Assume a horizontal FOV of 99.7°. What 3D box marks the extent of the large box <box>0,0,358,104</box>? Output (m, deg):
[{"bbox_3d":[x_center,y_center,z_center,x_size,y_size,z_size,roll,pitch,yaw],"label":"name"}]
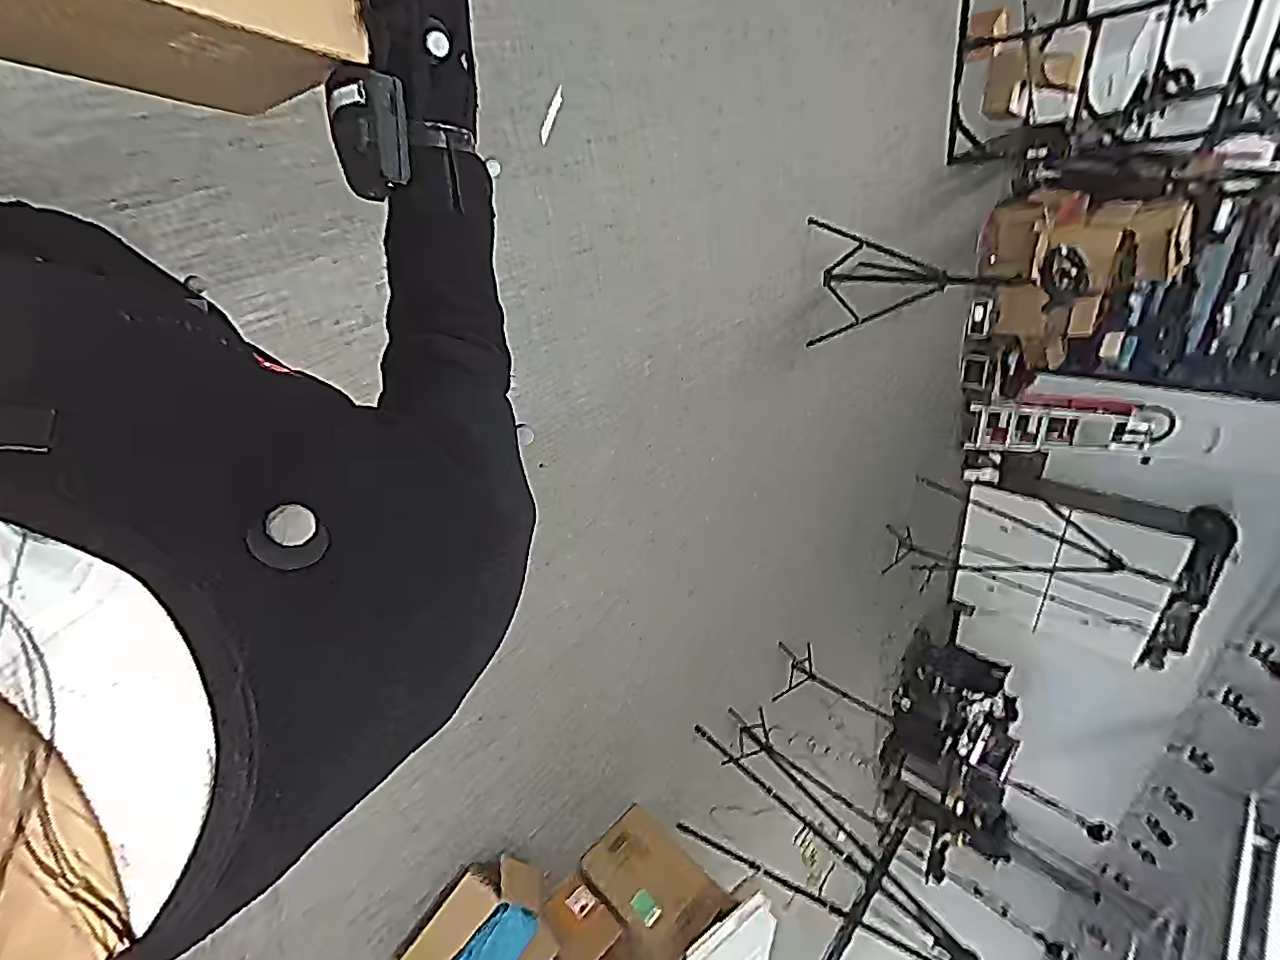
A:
[{"bbox_3d":[-0.405,-0.411,0.240,0.408,0.320,0.320,-15,121,-42],"label":"large box"}]
